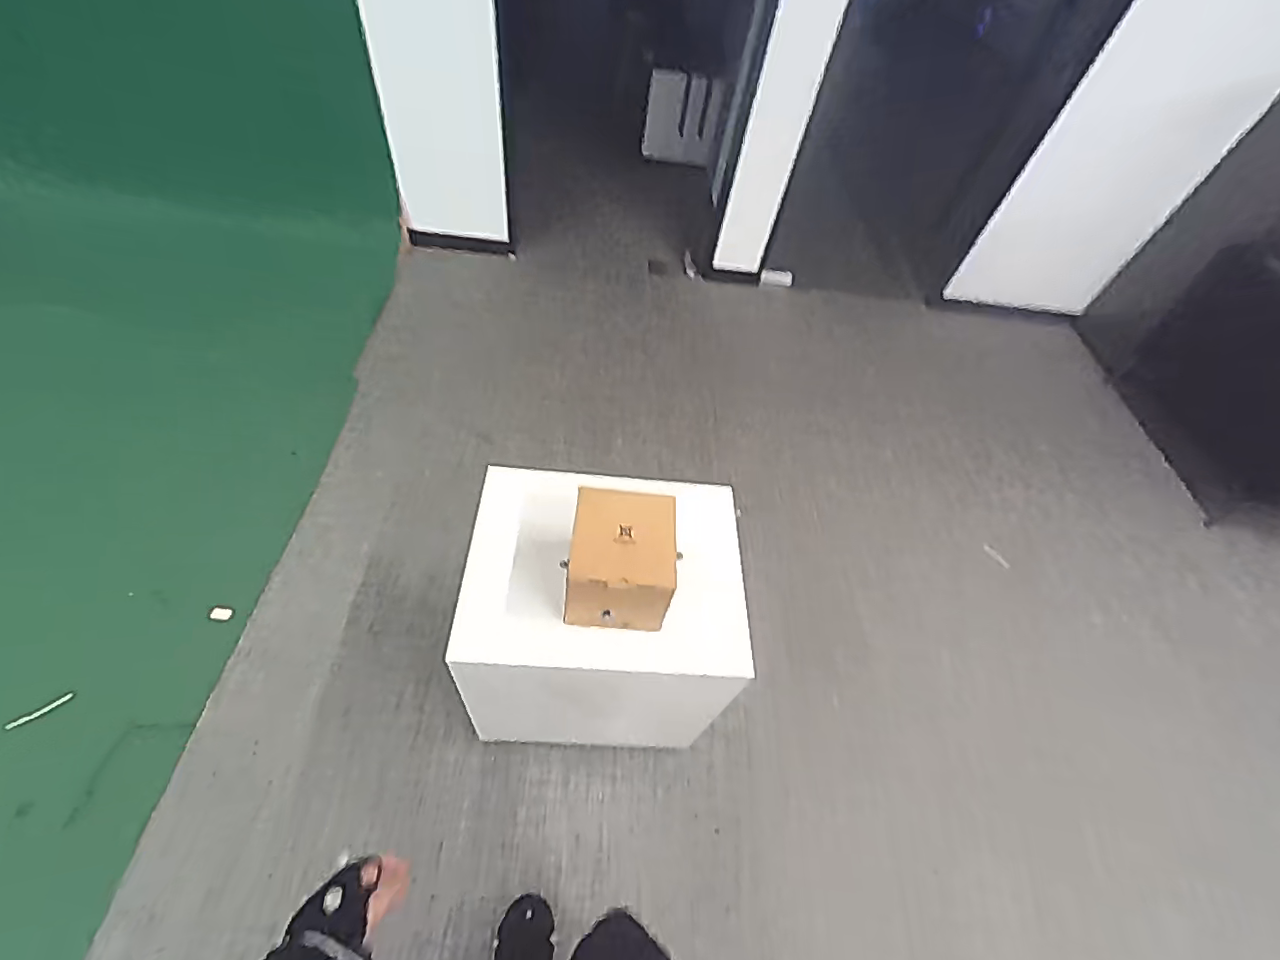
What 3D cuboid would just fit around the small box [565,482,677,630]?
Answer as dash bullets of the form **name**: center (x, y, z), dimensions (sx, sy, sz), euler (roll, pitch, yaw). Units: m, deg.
- **small box**: center (-0.034, 0.129, 0.904), dimensions (0.168, 0.176, 0.179), euler (6, 51, -5)
